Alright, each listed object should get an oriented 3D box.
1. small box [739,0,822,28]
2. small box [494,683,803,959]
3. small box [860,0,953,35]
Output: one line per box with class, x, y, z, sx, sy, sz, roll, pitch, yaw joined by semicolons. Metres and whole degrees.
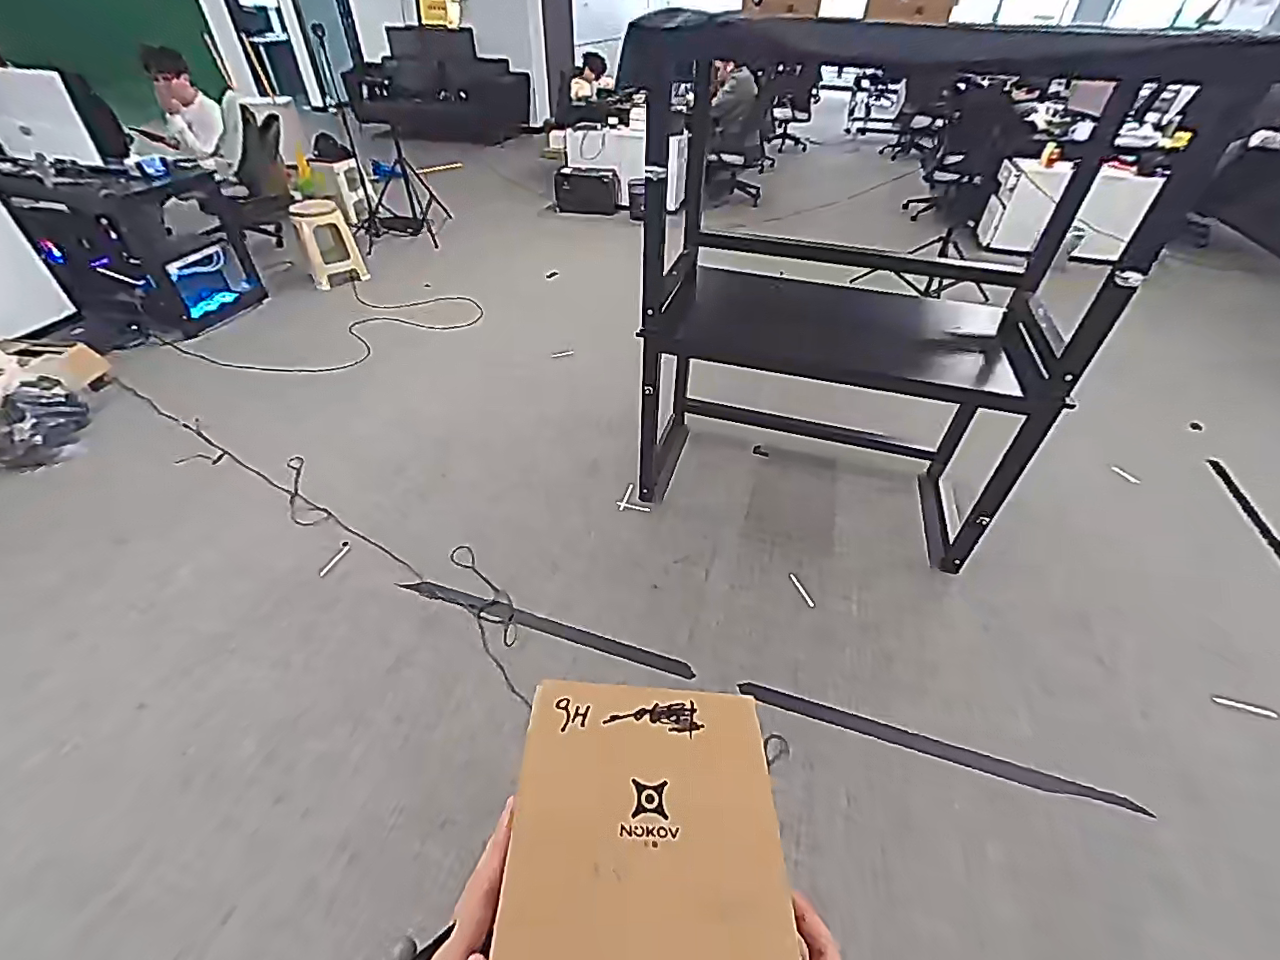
small box;0.312;-1.080;1.156;0.168;0.176;0.179;11;40;9
small box;-0.002;0.272;0.383;0.168;0.176;0.179;6;38;-5
small box;0.559;-1.031;1.111;0.168;0.176;0.179;12;41;12
